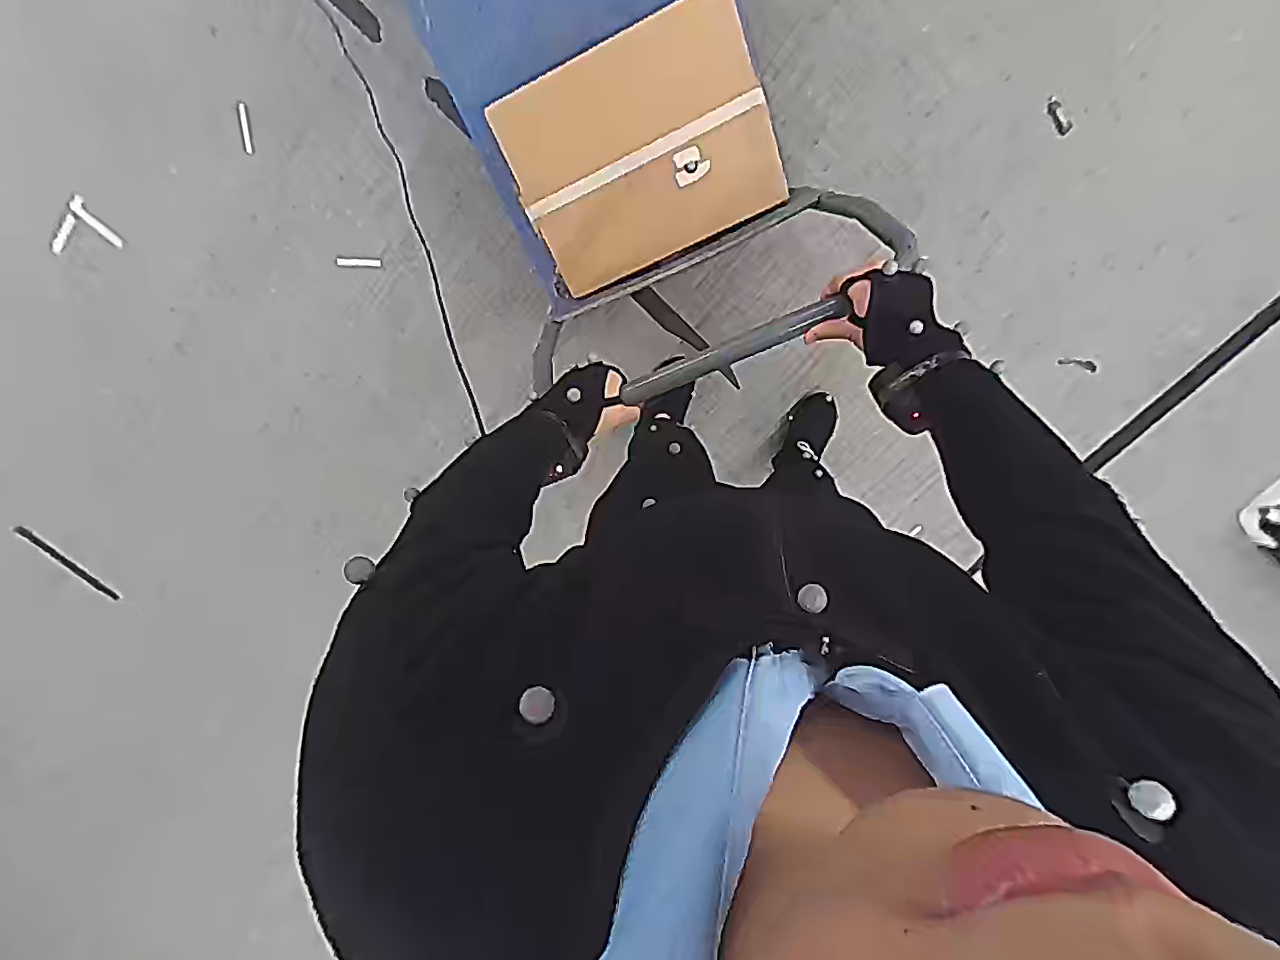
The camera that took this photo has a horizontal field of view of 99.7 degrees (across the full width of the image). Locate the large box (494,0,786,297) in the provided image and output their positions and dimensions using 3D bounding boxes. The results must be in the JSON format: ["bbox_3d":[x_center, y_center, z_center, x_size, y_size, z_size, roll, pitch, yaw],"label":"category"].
[{"bbox_3d":[0.002,-0.594,1.014,0.408,0.320,0.320,-23,116,10],"label":"large box"}]
